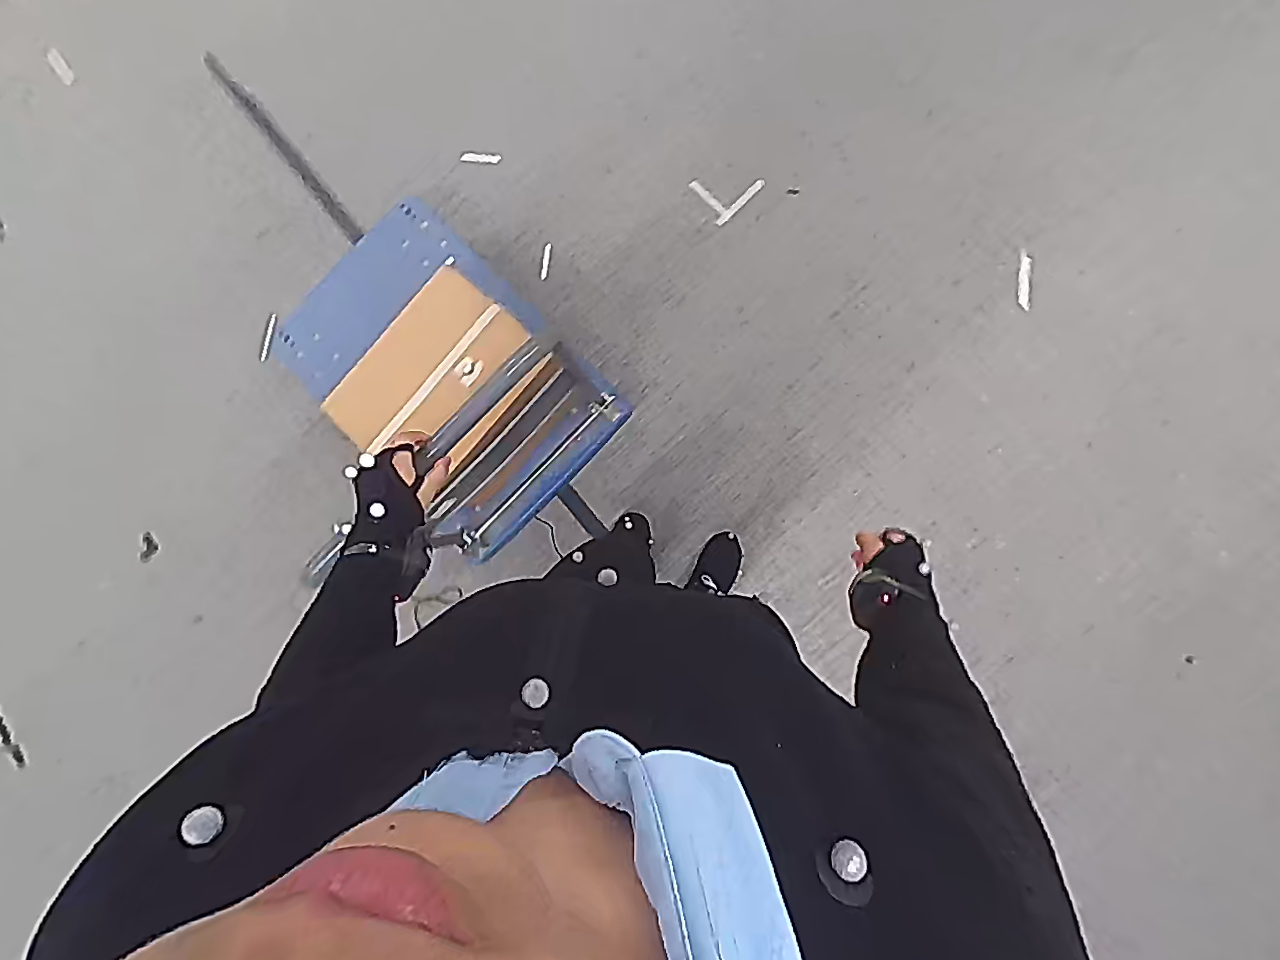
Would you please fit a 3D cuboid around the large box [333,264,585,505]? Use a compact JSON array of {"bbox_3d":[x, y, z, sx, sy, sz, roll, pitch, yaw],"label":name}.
[{"bbox_3d":[-0.393,-0.193,1.261,0.320,0.320,0.408,42,90,7],"label":"large box"}]
